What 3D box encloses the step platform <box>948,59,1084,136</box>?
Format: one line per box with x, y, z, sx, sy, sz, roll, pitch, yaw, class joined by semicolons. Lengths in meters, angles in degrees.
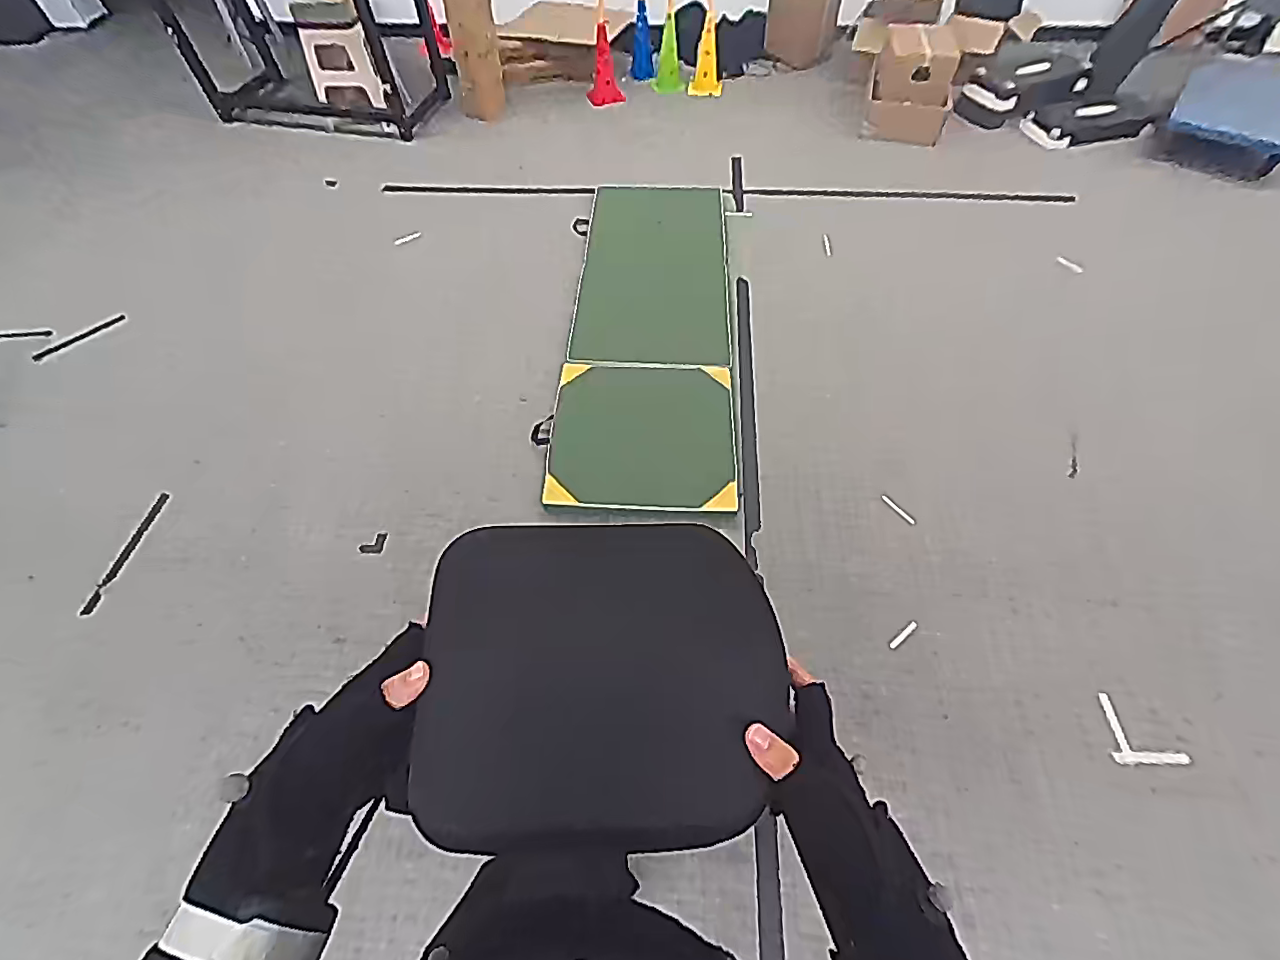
2.103;-2.144;3.022;0.684;0.204;0.286;-23;59;-13;step platform
